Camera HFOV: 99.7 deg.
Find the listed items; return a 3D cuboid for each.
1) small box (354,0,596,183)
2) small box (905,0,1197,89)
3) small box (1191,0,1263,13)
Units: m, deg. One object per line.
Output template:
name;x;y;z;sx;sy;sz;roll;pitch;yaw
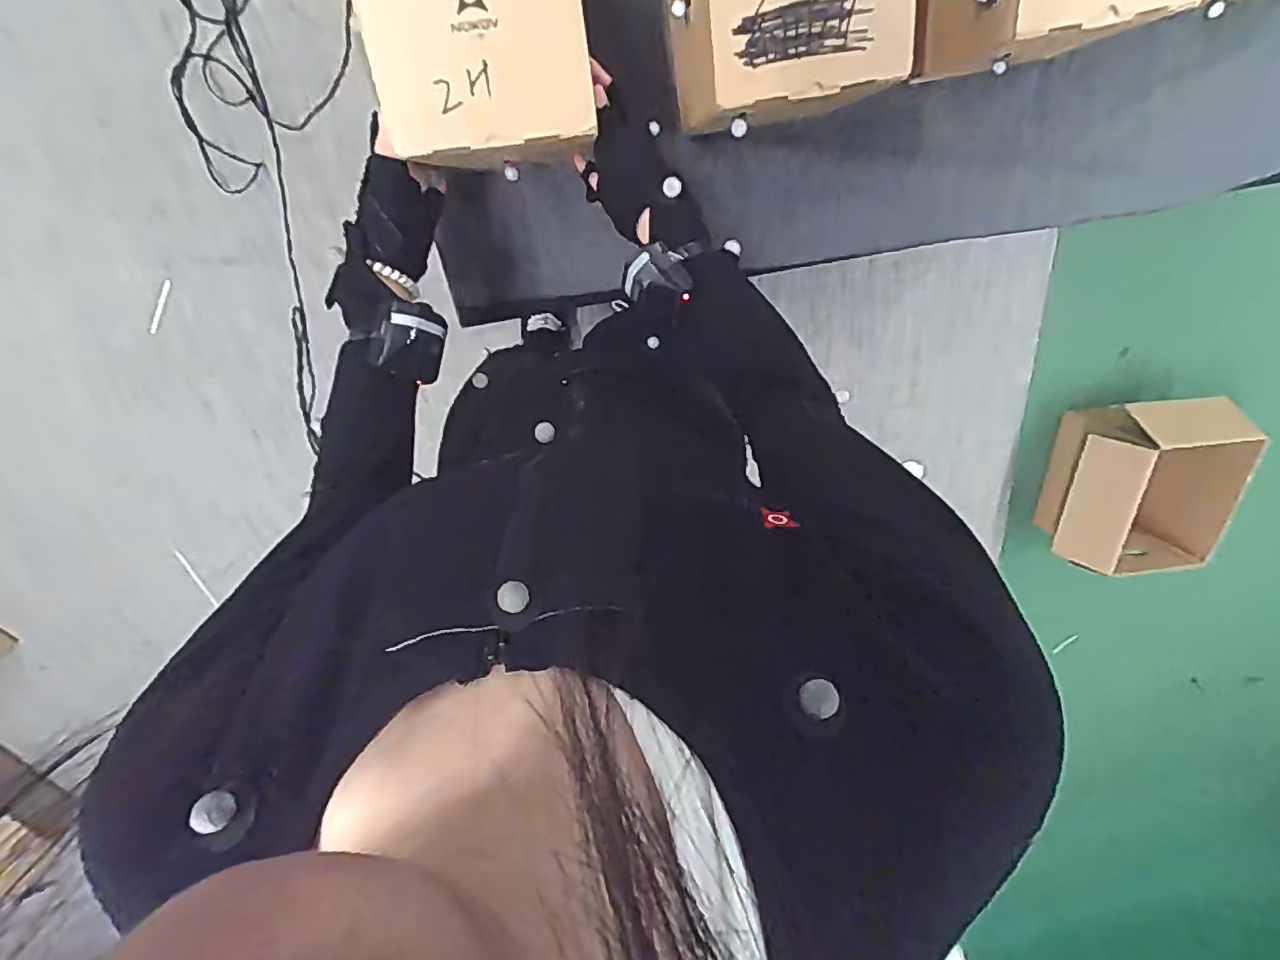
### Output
small box;-0.134;-0.375;0.473;0.168;0.176;0.179;-8;114;-3
small box;0.363;-0.486;0.487;0.168;0.176;0.179;-12;117;-1
small box;0.637;-0.556;0.483;0.168;0.176;0.179;-12;116;-1
